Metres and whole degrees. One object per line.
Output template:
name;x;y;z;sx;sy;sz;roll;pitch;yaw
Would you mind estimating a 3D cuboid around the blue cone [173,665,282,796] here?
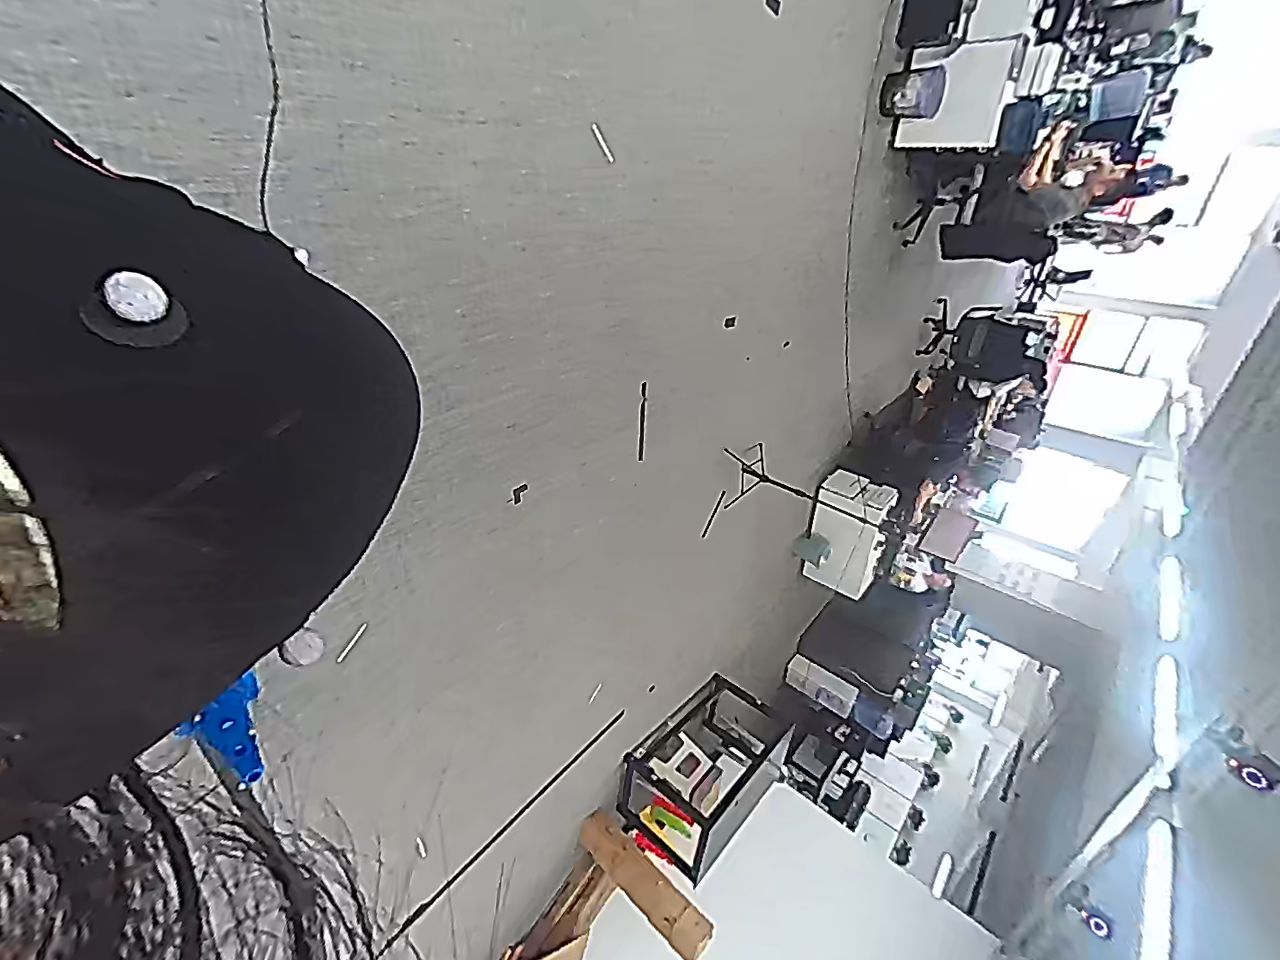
blue cone;-1.005;0.662;1.375;0.193;0.380;0.192;-32;132;-41
